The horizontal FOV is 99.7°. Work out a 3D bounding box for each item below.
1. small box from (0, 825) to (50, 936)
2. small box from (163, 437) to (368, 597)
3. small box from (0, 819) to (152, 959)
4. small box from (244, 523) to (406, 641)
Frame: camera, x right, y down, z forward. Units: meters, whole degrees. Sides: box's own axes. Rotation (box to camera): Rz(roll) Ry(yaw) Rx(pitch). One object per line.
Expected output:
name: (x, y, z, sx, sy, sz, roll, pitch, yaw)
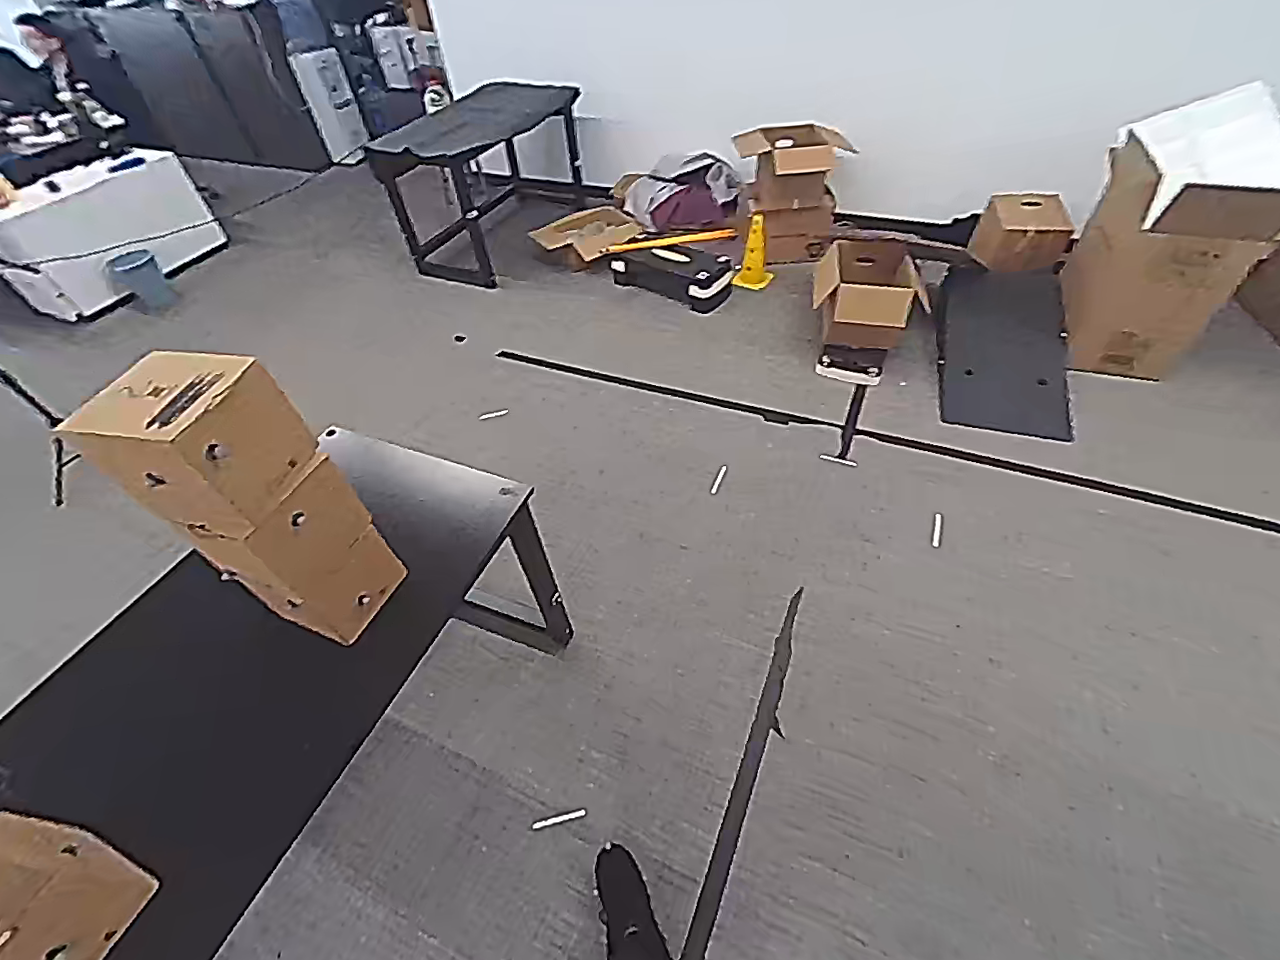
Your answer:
small box: (-0.790, 0.436, 0.545, 0.179, 0.176, 0.168, 15, 52, 17)
small box: (-0.577, 0.061, 0.864, 0.168, 0.176, 0.179, 12, 50, 15)
small box: (-0.778, 0.546, 0.667, 0.179, 0.176, 0.168, 15, 51, 16)
small box: (-0.572, 0.169, 0.988, 0.179, 0.176, 0.168, 15, 51, 17)
